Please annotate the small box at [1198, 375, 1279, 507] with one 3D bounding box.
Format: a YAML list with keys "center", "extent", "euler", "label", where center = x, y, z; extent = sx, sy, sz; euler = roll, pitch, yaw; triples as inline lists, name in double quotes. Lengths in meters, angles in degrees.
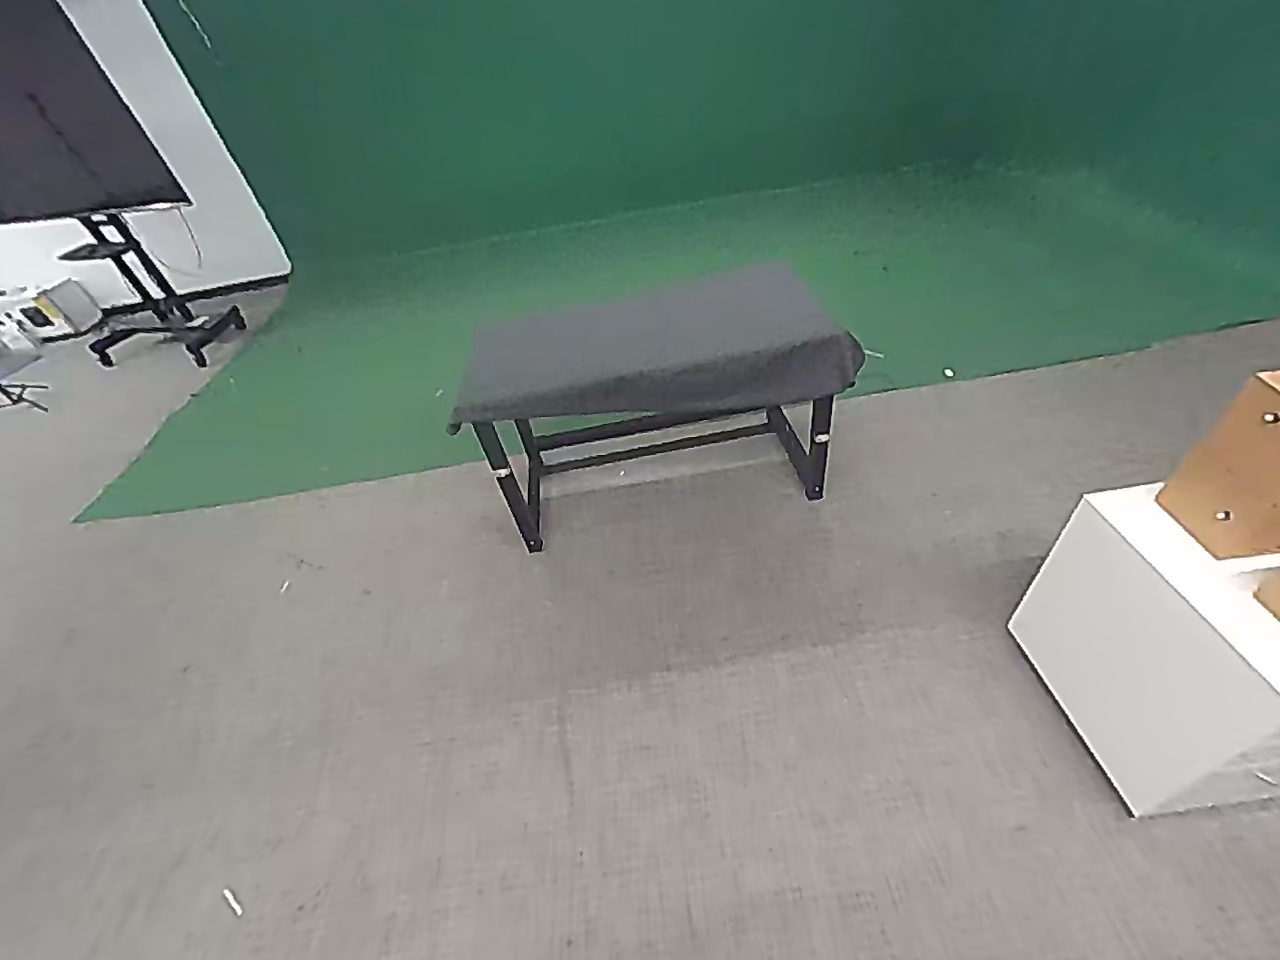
- center: [1.187, -0.075, 0.969]
  extent: [0.168, 0.176, 0.179]
  euler: [-7, 45, 2]
  label: "small box"

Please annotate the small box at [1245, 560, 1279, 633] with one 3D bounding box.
- center: [1.212, 0.210, 0.904]
  extent: [0.168, 0.176, 0.179]
  euler: [-8, 44, 2]
  label: "small box"

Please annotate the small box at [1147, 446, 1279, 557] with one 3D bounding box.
- center: [1.201, 0.040, 1.086]
  extent: [0.168, 0.176, 0.179]
  euler: [-7, 43, 1]
  label: "small box"
